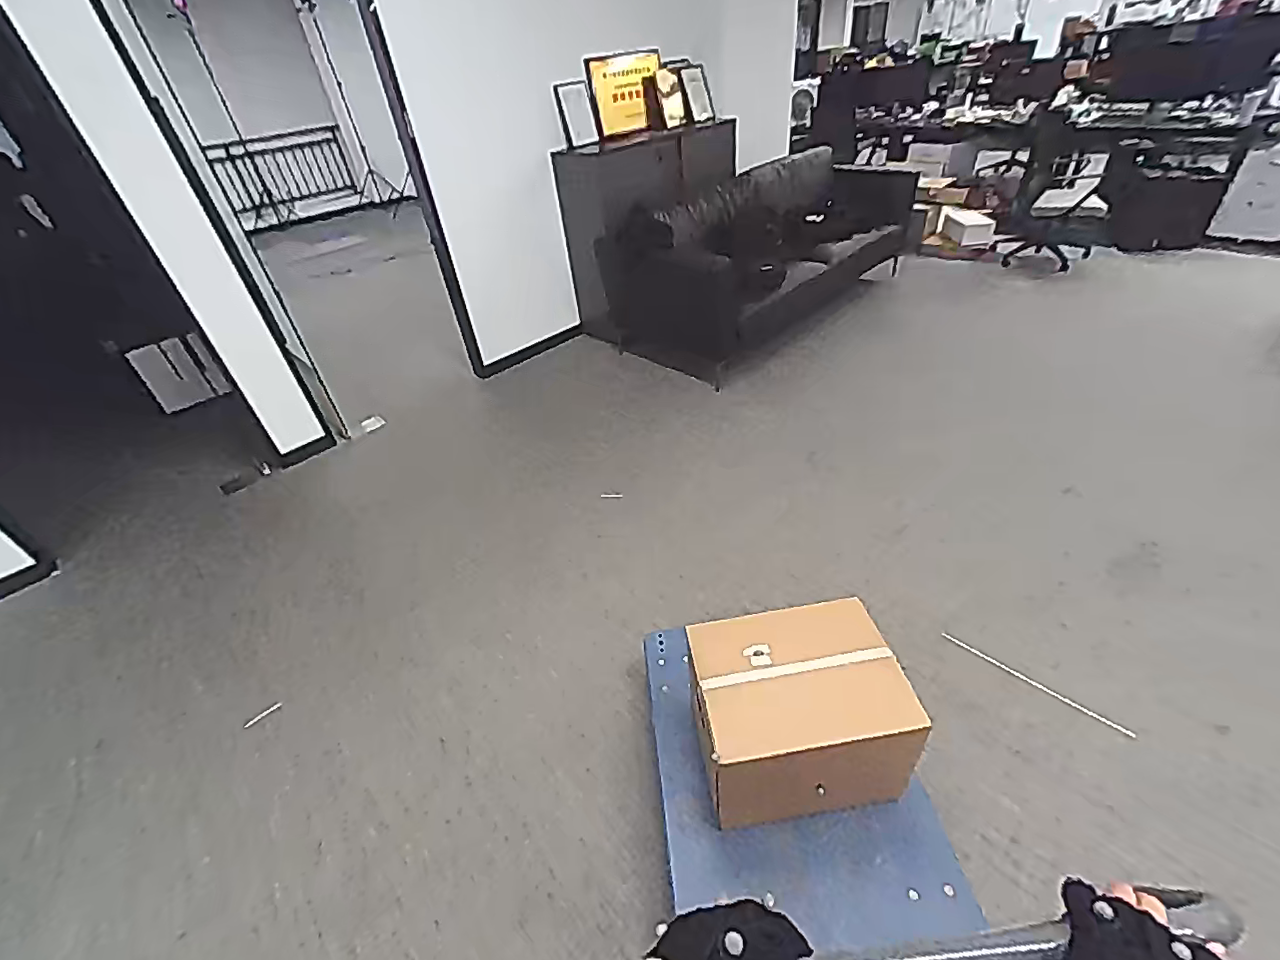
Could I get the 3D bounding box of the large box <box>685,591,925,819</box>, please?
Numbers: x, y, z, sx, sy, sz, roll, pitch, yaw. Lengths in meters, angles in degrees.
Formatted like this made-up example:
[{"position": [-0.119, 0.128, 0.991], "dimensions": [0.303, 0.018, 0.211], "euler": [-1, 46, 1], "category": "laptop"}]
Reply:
[{"position": [0.335, 0.497, 1.204], "dimensions": [0.408, 0.320, 0.320], "euler": [-10, 38, -3], "category": "large box"}]
